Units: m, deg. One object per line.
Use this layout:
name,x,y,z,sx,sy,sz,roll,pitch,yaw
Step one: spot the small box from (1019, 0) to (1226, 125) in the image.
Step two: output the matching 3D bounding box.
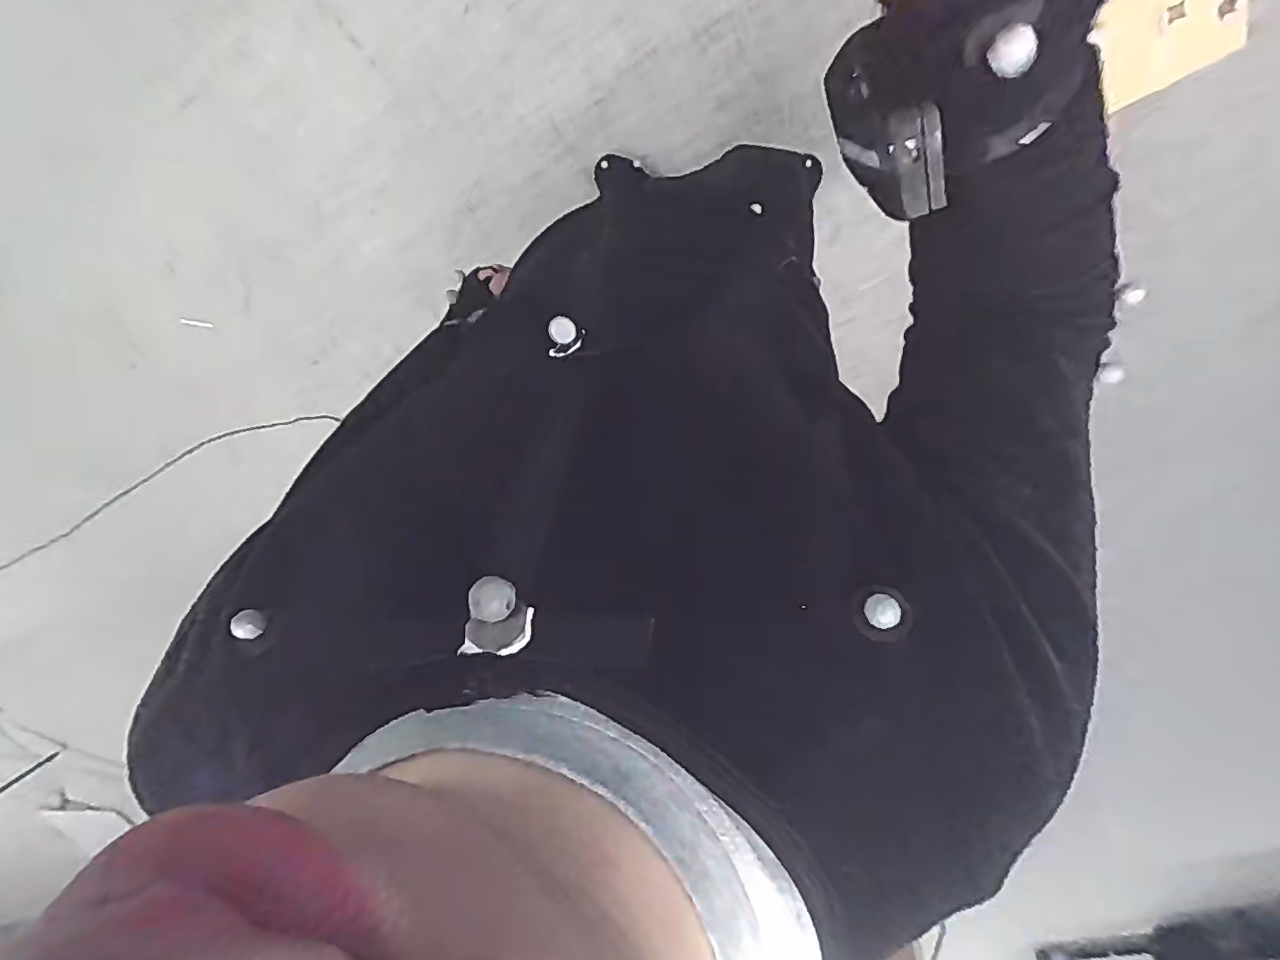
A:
small box,0.696,-0.652,0.800,0.179,0.176,0.168,-22,118,17

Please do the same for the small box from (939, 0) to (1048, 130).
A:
small box,0.724,-0.823,1.078,0.179,0.176,0.168,-14,120,14

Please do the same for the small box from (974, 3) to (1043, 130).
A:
small box,0.714,-0.733,0.940,0.179,0.176,0.168,-13,120,13
